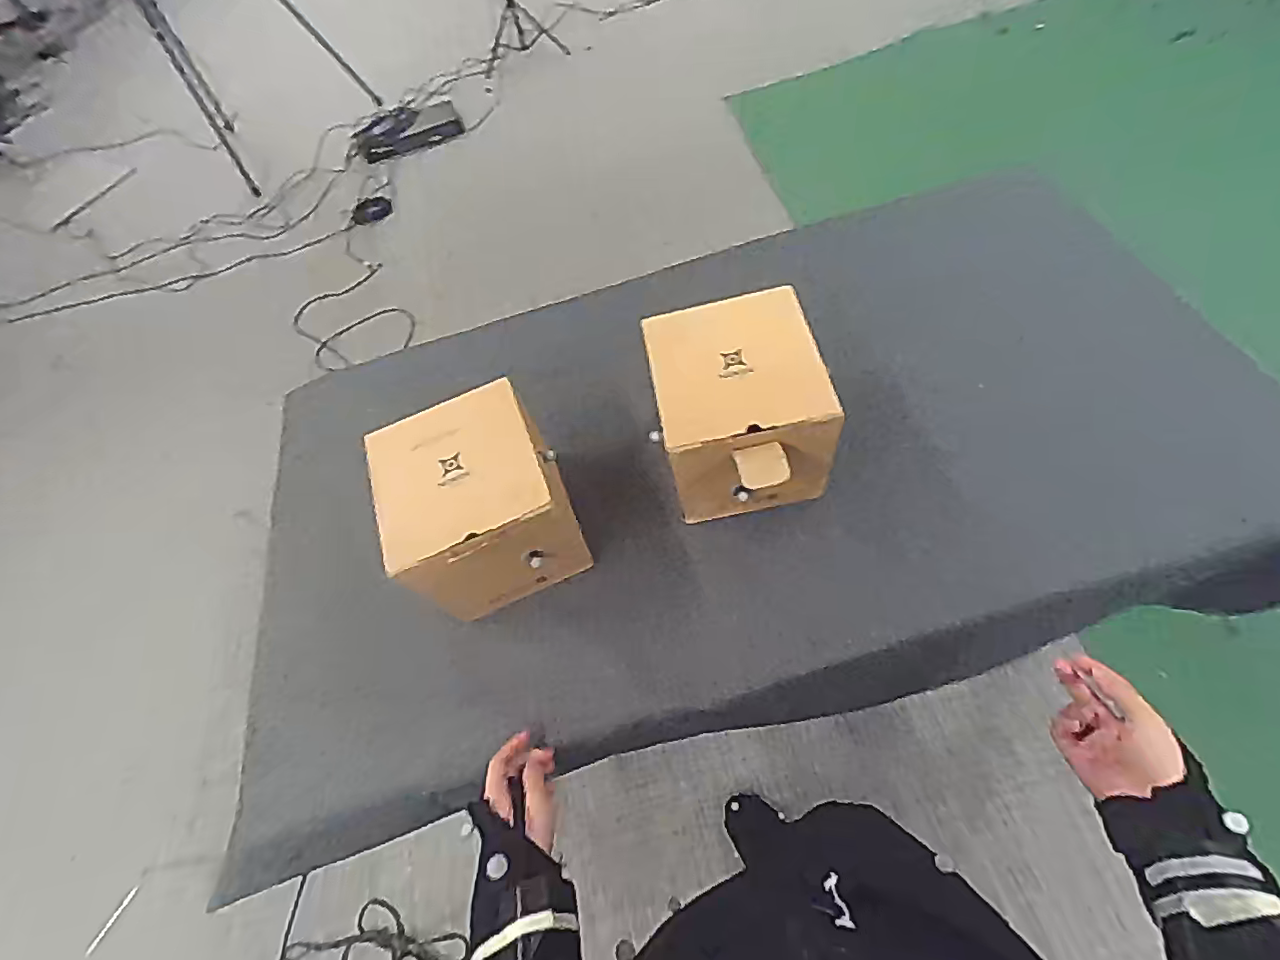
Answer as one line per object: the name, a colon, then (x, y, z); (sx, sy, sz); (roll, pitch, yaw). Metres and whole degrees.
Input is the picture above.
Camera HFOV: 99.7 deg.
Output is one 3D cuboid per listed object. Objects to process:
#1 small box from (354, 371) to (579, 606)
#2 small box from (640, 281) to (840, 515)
small box: (-0.181, 0.021, 0.593); (0.168, 0.176, 0.179); (-23, 58, -5)
small box: (0.100, -0.084, 0.601); (0.168, 0.176, 0.179); (-12, 60, 3)
